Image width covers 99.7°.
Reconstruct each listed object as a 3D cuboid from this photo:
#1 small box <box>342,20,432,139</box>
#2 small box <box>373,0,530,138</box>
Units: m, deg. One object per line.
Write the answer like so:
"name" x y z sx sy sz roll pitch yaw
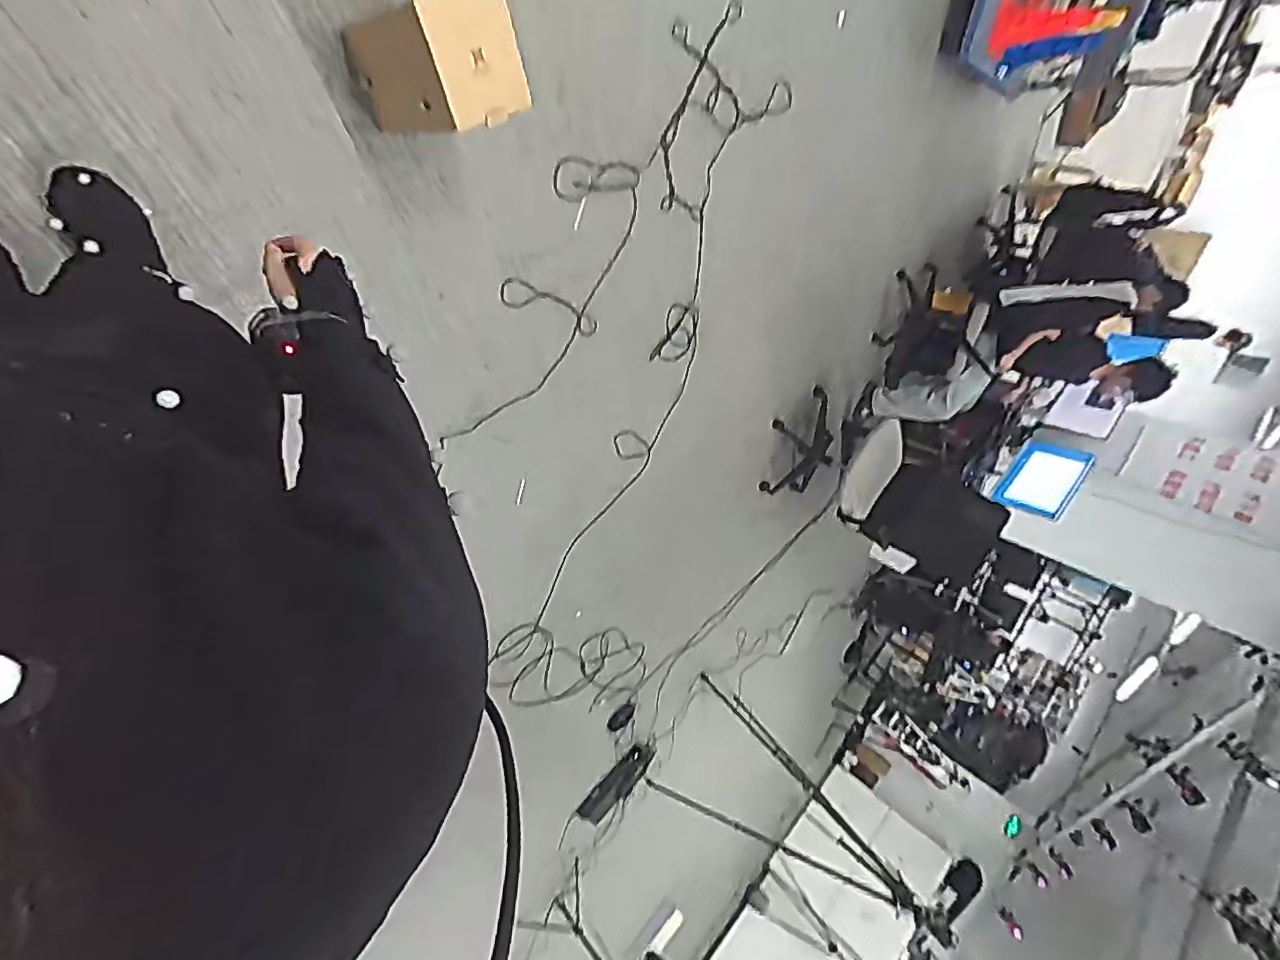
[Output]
"small box" -0.436 -0.788 1.051 0.168 0.176 0.179 -38 139 -27
"small box" -0.327 -0.723 0.948 0.168 0.176 0.179 -40 137 -26
